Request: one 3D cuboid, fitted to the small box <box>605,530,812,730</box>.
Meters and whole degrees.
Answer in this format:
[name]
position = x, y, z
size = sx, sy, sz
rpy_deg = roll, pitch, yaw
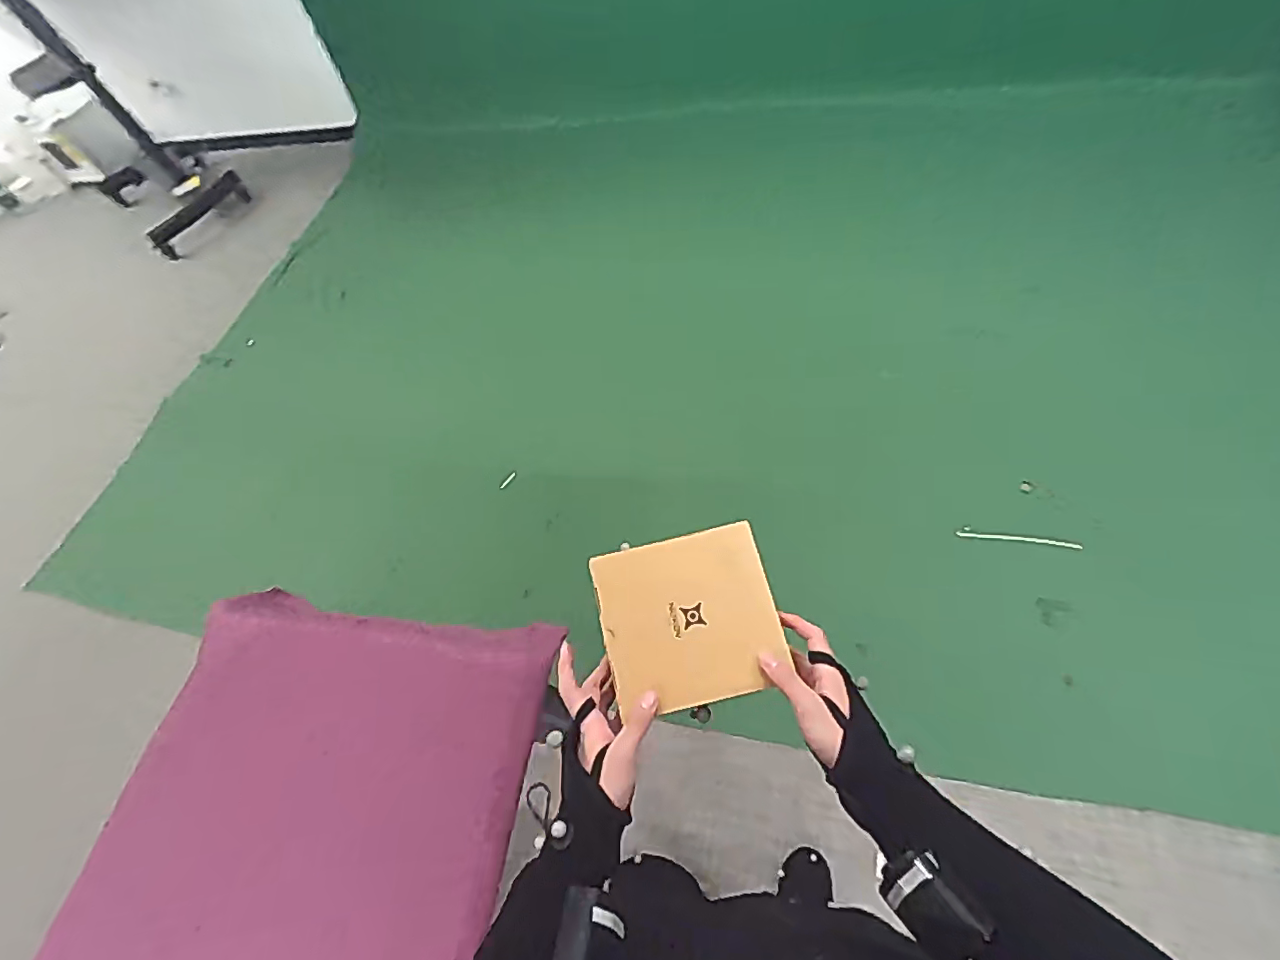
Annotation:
[small box]
position = 0.068, 0.170, 0.610
size = 0.179, 0.176, 0.168
rpy_deg = -13, 69, 0
